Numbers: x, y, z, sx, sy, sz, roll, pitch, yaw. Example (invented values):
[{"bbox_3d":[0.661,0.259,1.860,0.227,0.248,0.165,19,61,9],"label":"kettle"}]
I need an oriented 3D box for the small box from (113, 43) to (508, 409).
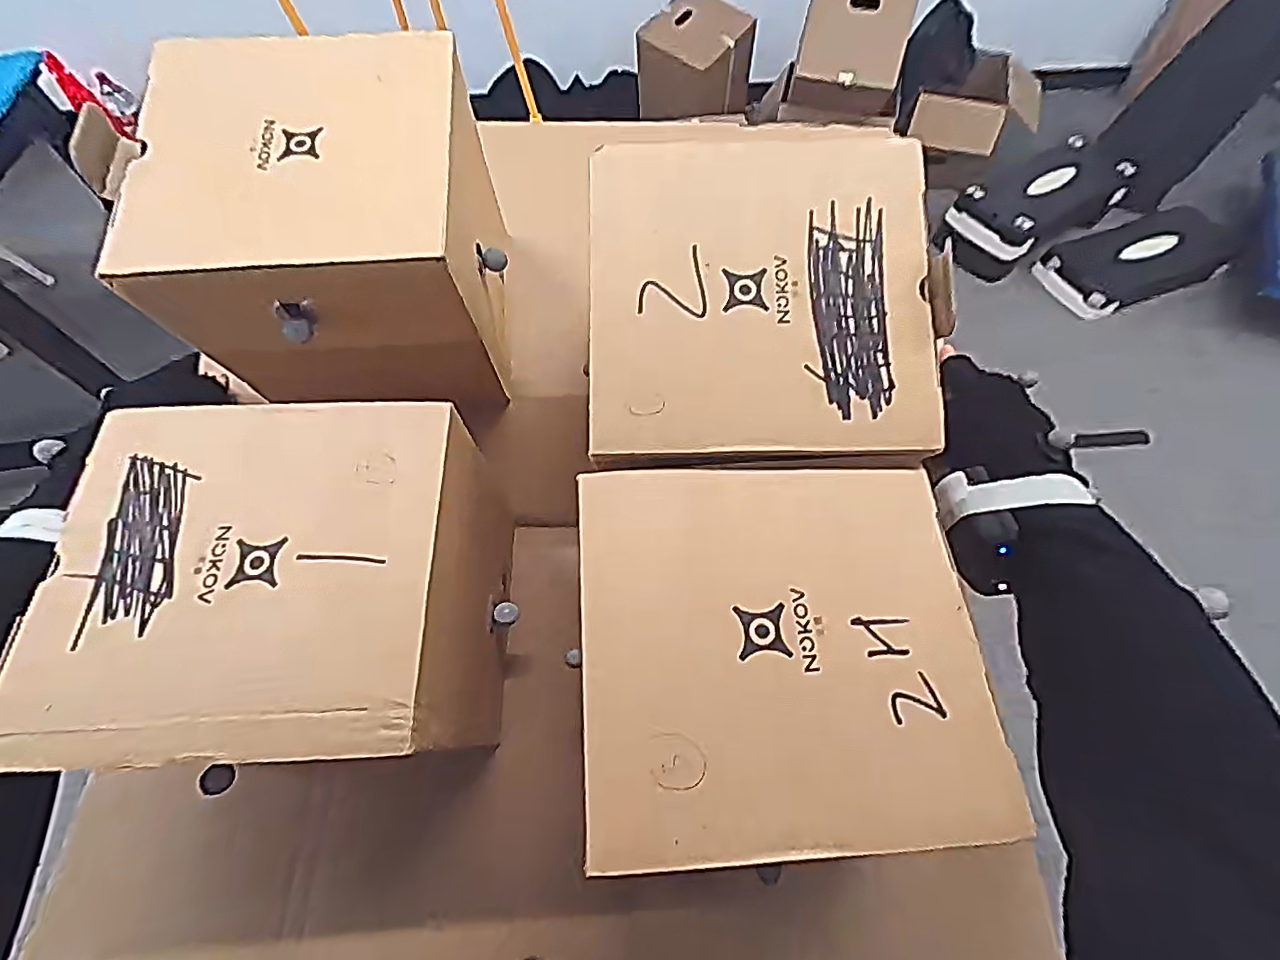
[{"bbox_3d":[-0.195,-0.162,0.383,0.179,0.176,0.168,-4,72,-1],"label":"small box"}]
